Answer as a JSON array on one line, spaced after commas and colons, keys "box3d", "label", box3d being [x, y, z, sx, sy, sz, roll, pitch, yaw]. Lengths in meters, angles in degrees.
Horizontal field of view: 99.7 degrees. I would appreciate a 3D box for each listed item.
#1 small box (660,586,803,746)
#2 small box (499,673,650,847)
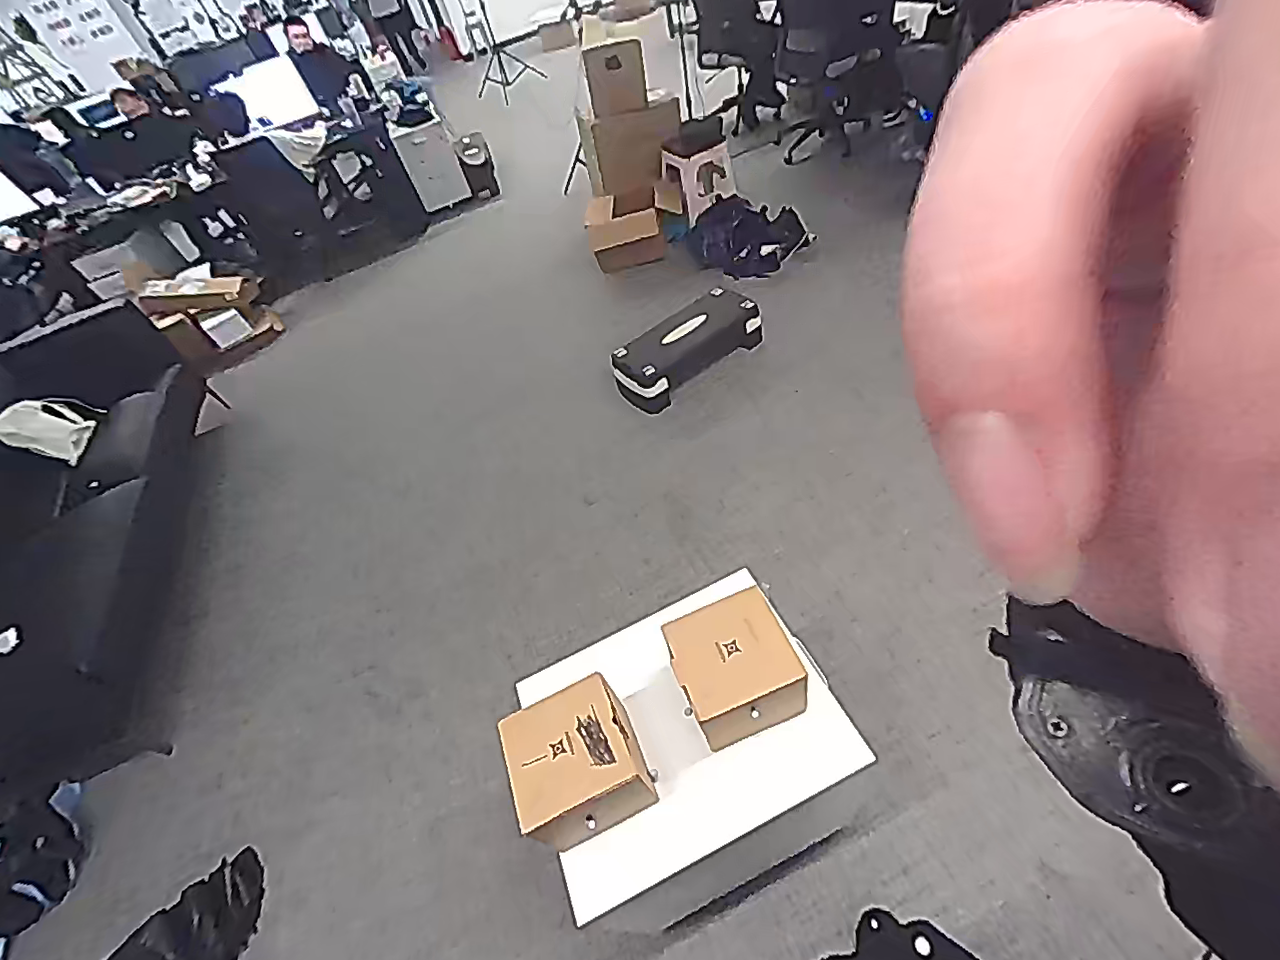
[{"box3d": [0.153, 0.310, 0.889, 0.179, 0.176, 0.168, -22, 49, -3], "label": "small box"}, {"box3d": [-0.095, 0.440, 0.846, 0.179, 0.176, 0.168, -25, 47, -5], "label": "small box"}]
